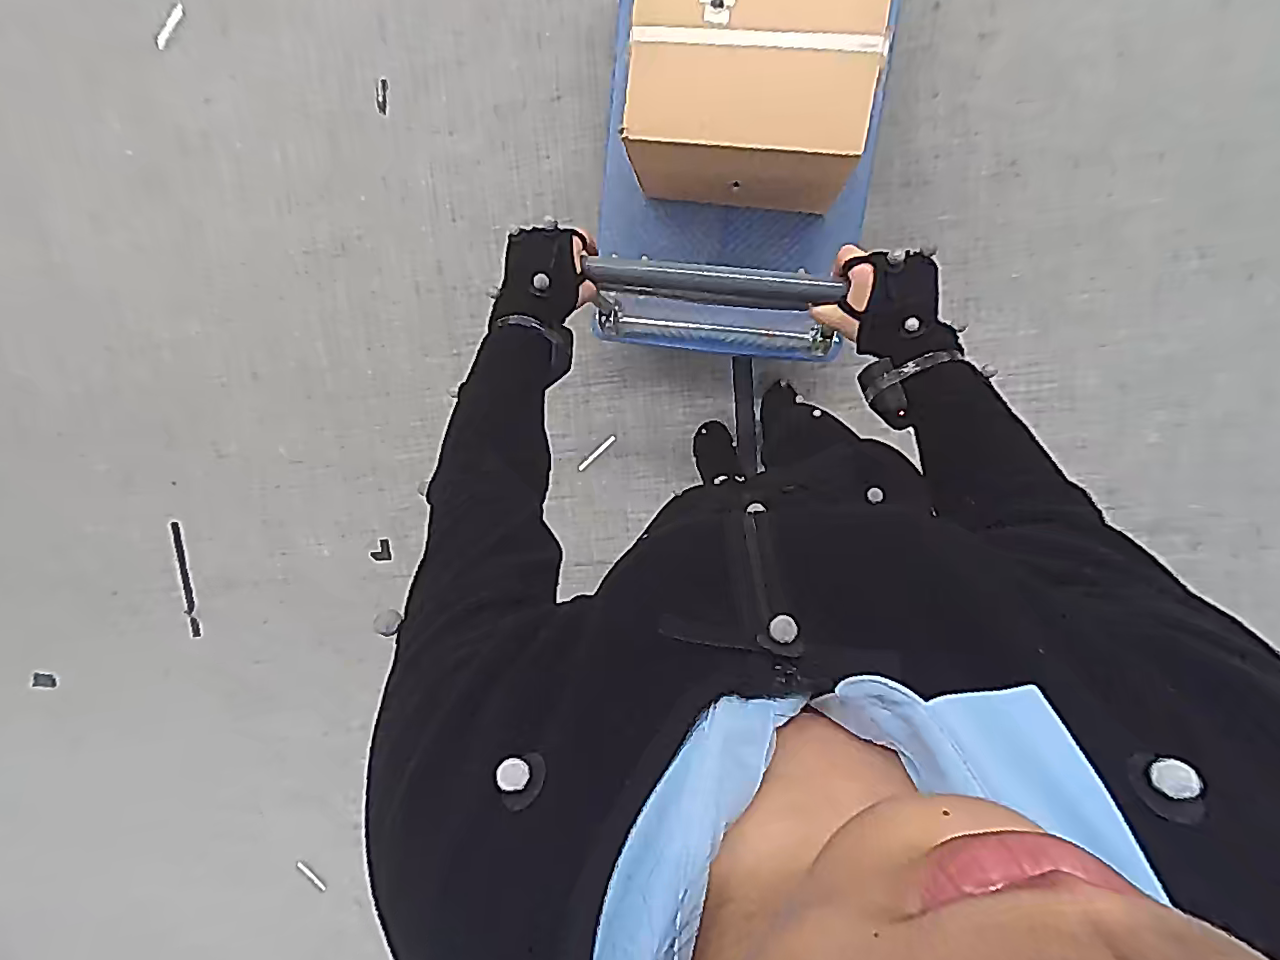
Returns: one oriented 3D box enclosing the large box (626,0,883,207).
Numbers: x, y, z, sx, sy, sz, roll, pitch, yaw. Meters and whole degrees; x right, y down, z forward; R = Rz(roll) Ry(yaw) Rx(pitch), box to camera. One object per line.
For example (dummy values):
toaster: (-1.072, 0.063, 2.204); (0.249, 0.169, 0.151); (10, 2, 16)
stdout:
large box: (0.210, -0.742, 1.041); (0.408, 0.320, 0.320); (8, 100, 8)
